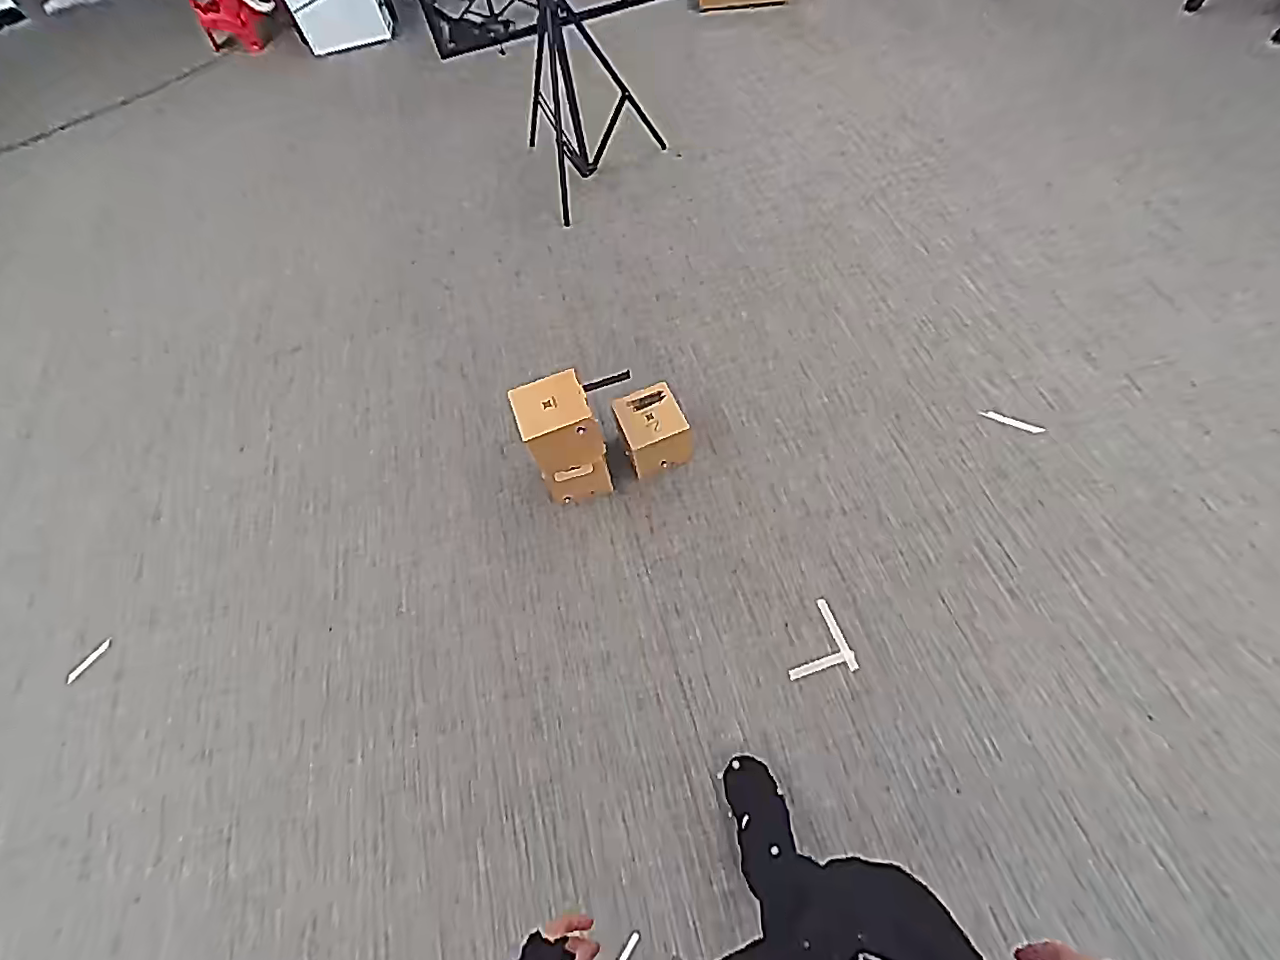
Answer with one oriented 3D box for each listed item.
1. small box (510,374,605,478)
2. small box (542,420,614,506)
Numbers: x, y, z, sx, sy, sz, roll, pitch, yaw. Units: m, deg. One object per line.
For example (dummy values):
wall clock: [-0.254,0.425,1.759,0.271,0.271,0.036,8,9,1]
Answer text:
small box: [-0.204,-0.129,1.366,0.179,0.176,0.168,-21,60,-4]
small box: [-0.178,-0.044,1.503,0.168,0.176,0.179,-15,59,0]
